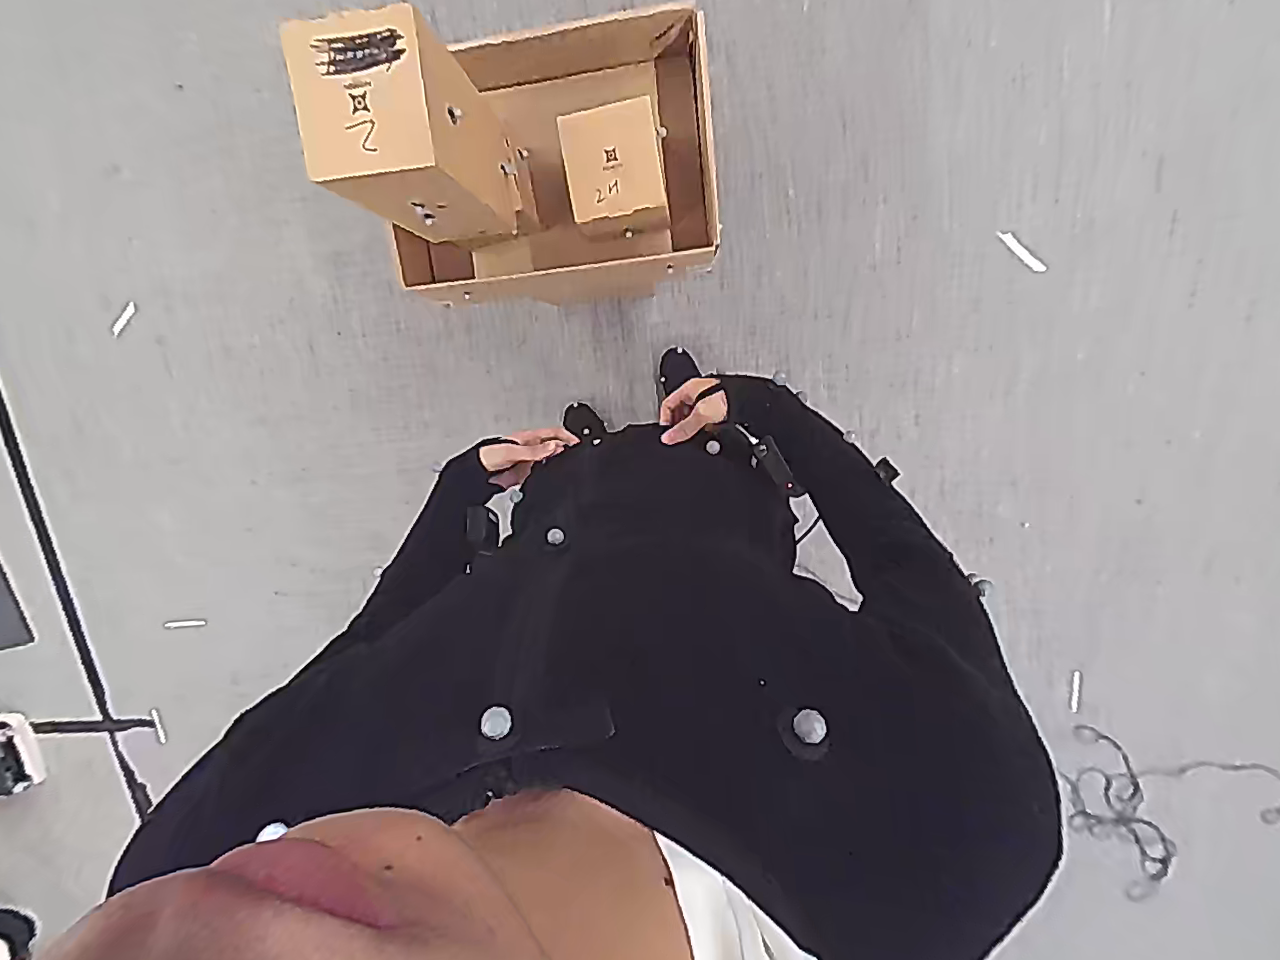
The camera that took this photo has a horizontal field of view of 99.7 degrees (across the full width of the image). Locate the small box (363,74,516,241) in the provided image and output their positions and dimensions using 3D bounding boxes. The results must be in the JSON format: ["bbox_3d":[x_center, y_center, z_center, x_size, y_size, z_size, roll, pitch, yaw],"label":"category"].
[{"bbox_3d":[-0.313,-0.509,0.878,0.168,0.176,0.179,-4,100,6],"label":"small box"}]
